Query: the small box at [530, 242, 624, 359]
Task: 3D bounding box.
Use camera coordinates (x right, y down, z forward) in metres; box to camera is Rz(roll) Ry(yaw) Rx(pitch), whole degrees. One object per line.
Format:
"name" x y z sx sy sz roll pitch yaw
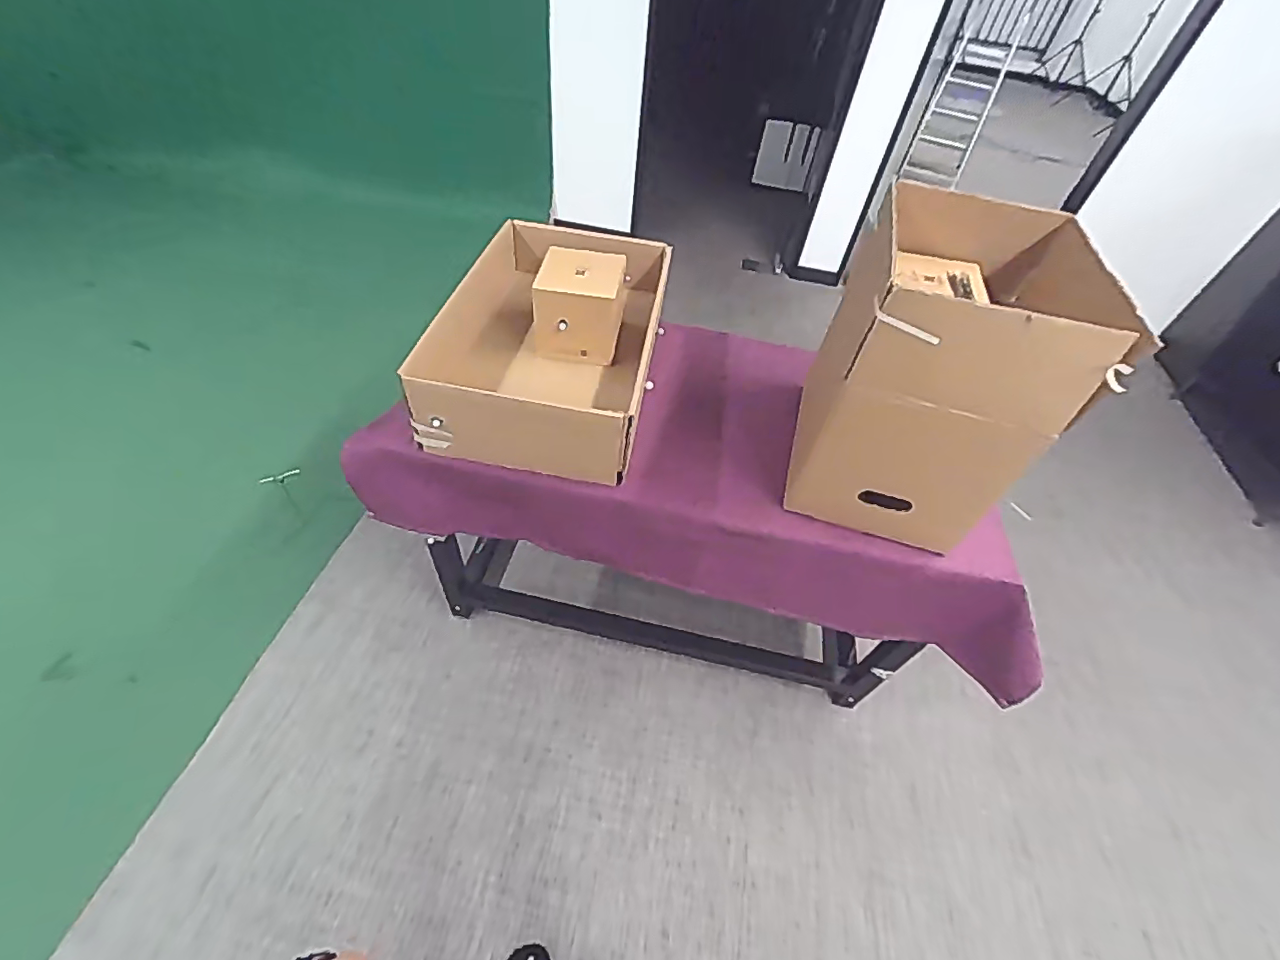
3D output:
"small box" -0.129 -0.380 1.157 0.168 0.176 0.179 7 50 1
